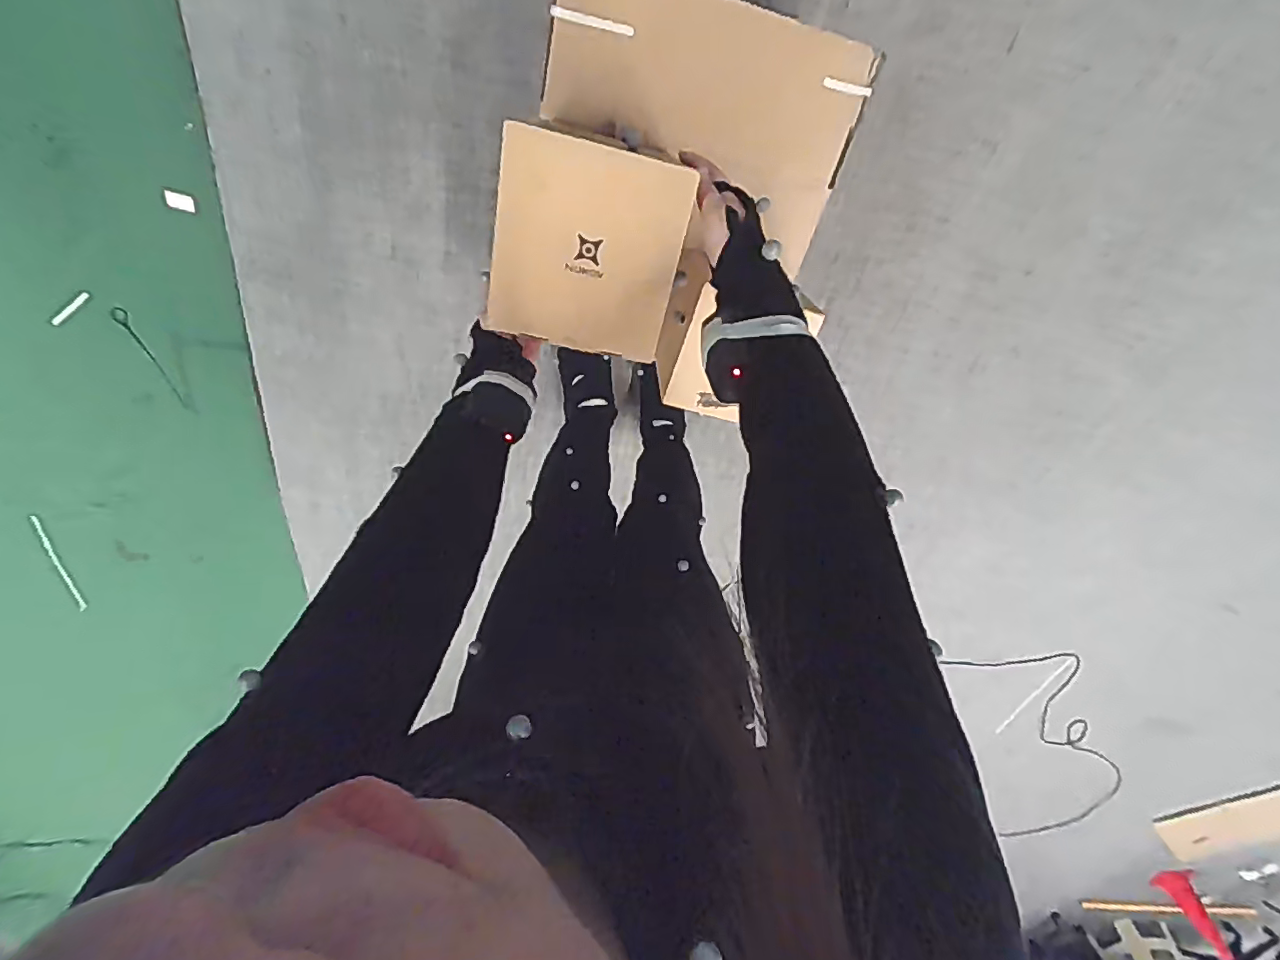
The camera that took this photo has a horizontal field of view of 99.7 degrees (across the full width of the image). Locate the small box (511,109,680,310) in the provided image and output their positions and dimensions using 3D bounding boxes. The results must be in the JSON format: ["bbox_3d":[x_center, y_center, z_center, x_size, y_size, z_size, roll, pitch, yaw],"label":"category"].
[{"bbox_3d":[-0.056,-0.342,0.683,0.168,0.176,0.179,12,122,-9],"label":"small box"}]

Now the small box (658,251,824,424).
[{"bbox_3d":[0.128,-0.209,0.775,0.168,0.176,0.179,13,122,-10],"label":"small box"}]
